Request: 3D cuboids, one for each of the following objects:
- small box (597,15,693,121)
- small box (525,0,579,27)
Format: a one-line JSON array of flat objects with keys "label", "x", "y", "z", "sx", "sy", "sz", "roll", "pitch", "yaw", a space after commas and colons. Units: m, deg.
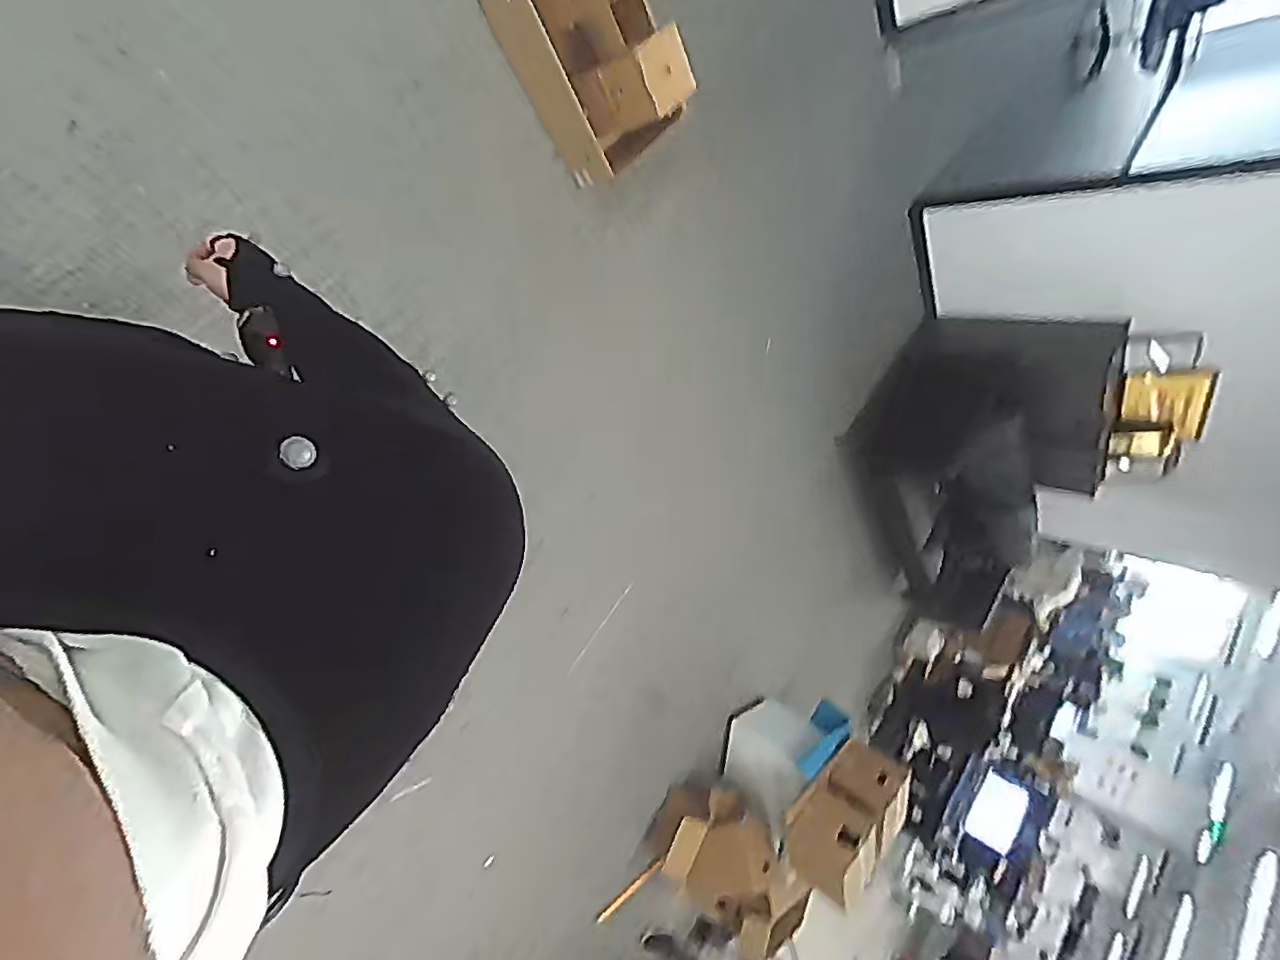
[{"label": "small box", "x": 0.012, "y": -1.150, "z": 1.518, "sx": 0.179, "sy": 0.176, "sz": 0.168, "roll": -49, "pitch": 132, "yaw": -18}, {"label": "small box", "x": -0.214, "y": -1.368, "z": 1.451, "sx": 0.179, "sy": 0.176, "sz": 0.168, "roll": -50, "pitch": 133, "yaw": -19}]
